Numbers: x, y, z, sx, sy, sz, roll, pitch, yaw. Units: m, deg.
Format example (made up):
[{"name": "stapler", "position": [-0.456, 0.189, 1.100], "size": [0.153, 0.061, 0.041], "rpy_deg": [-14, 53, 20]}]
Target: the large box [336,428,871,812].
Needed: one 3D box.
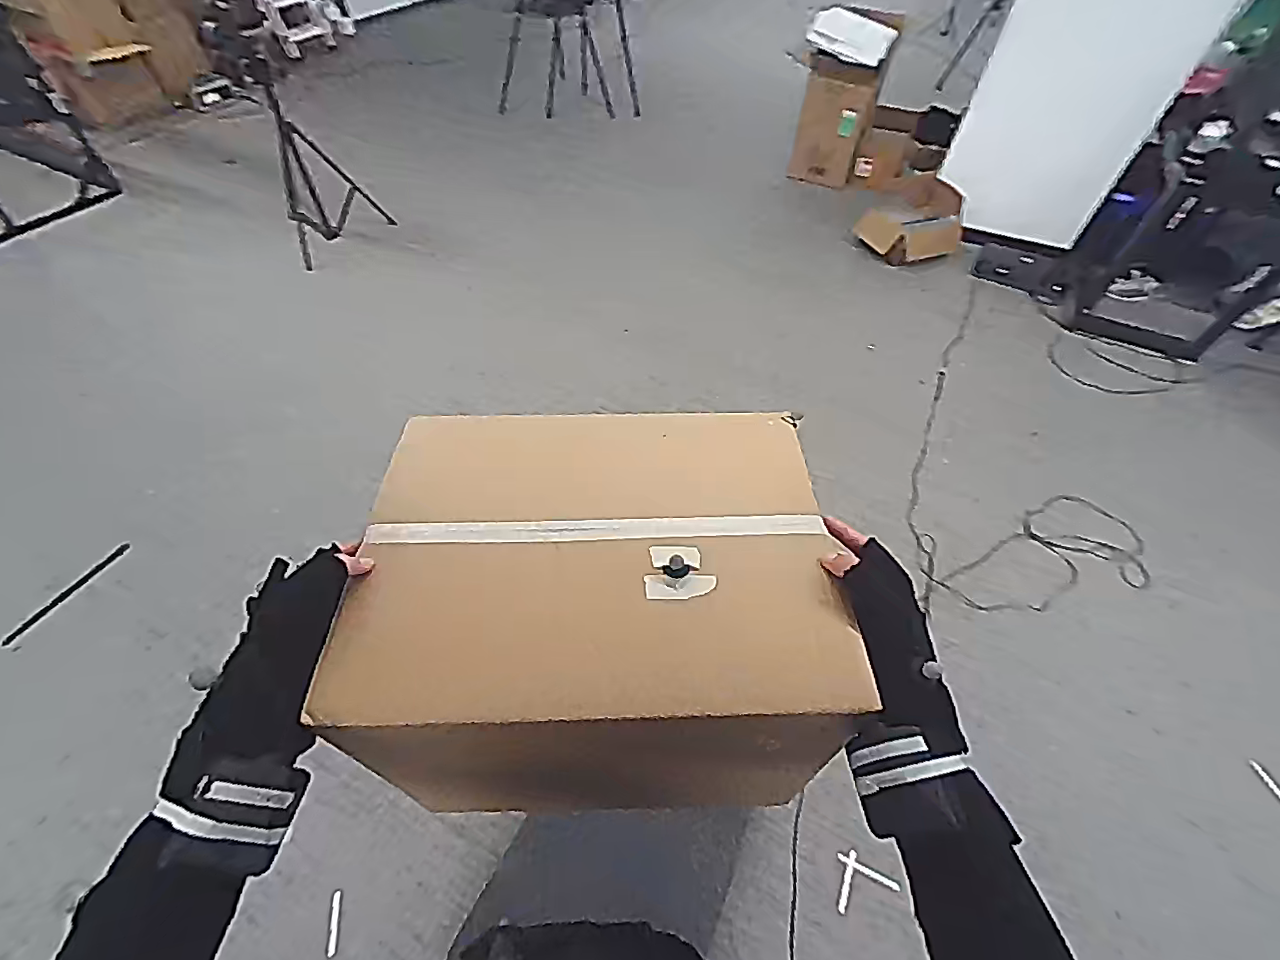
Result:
[{"name": "large box", "position": [-0.031, 0.157, 0.604], "size": [0.408, 0.320, 0.320], "rpy_deg": [0, 49, -1]}]
